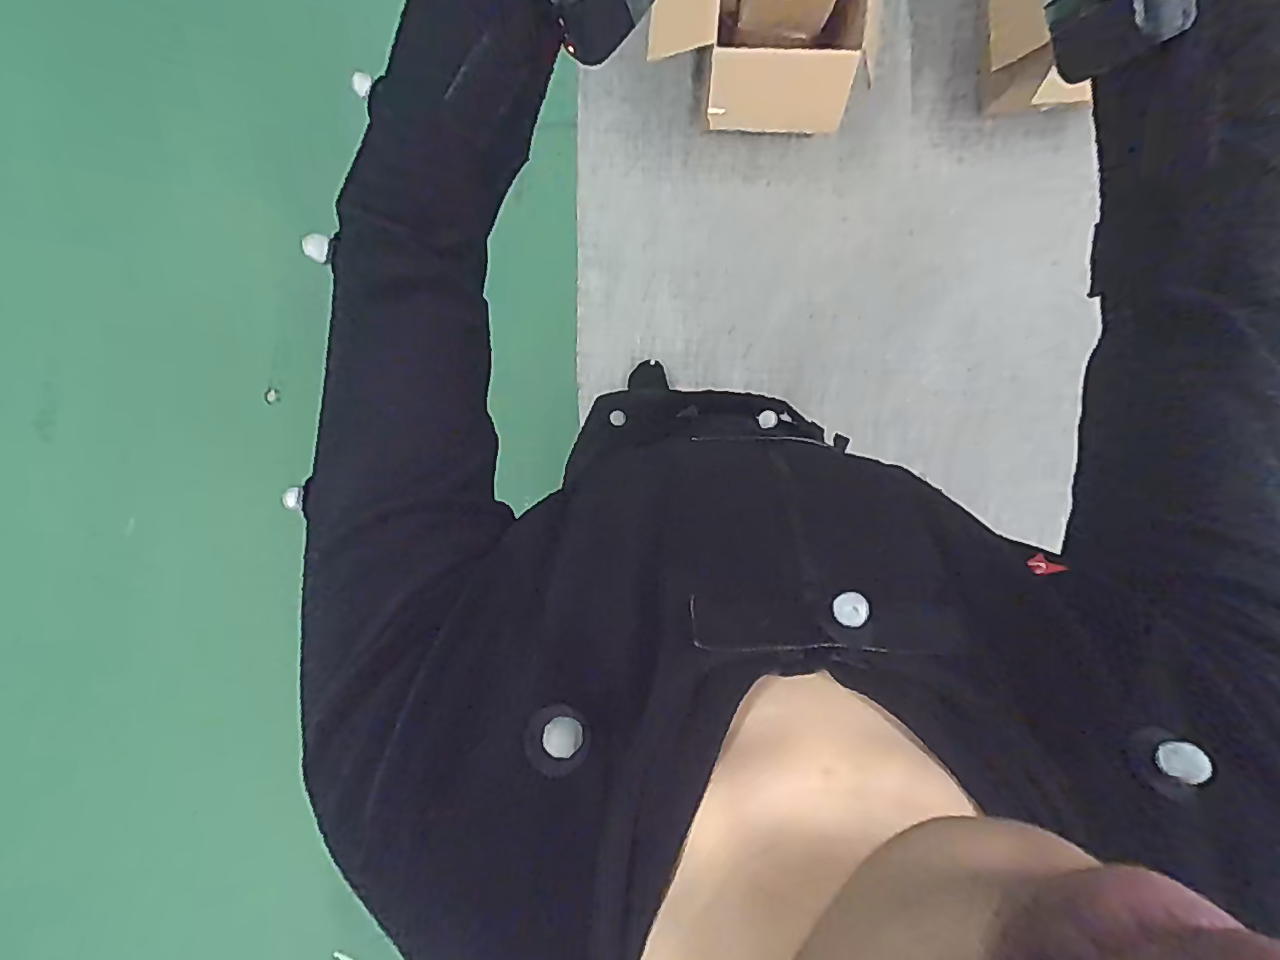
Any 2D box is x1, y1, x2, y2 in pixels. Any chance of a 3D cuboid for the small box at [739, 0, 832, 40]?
[{"bbox_3d":[0.315,-1.063,1.121,0.179,0.176,0.168,5,94,-1],"label":"small box"}]
